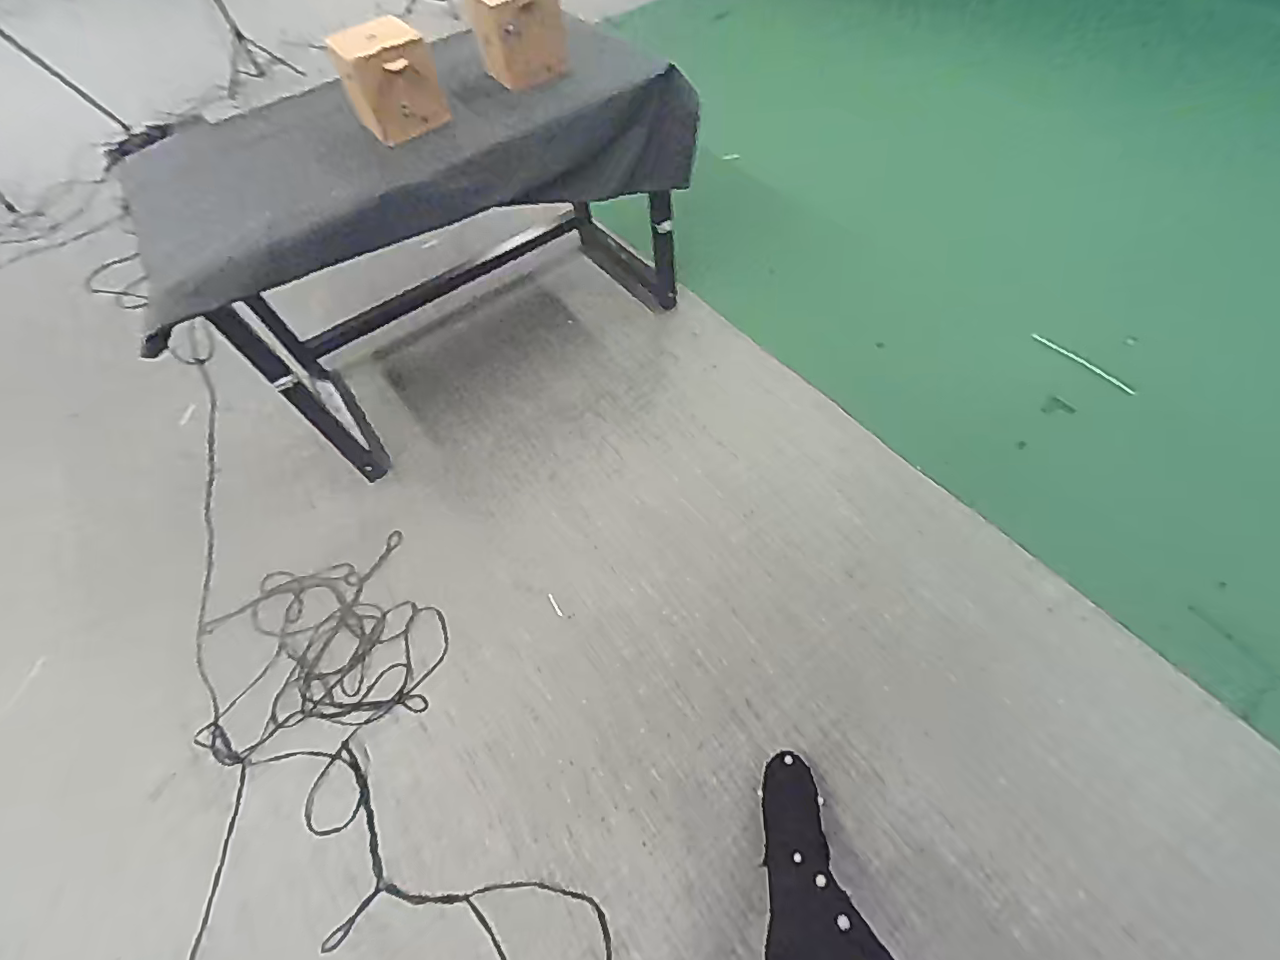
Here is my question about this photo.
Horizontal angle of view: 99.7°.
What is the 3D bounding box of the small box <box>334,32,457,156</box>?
[{"bbox_3d":[-0.548,-0.871,1.225,0.168,0.176,0.179,-34,60,-15],"label":"small box"}]
